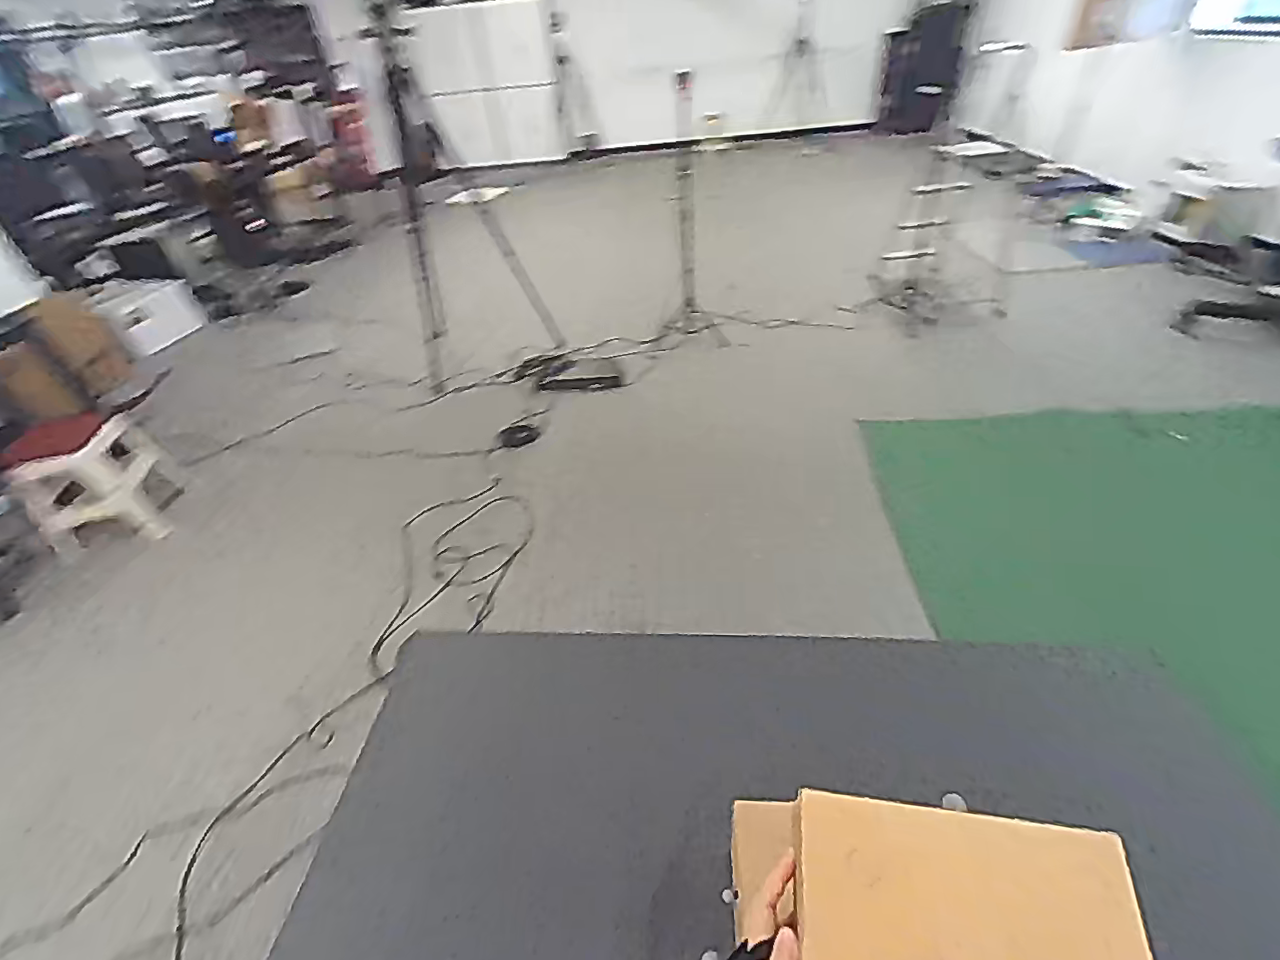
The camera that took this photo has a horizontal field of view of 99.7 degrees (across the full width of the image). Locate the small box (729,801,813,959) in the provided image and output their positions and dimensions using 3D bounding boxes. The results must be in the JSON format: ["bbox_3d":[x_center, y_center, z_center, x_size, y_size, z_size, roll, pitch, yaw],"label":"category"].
[{"bbox_3d":[0.180,0.461,0.557,0.168,0.176,0.179,-1,40,6],"label":"small box"}]

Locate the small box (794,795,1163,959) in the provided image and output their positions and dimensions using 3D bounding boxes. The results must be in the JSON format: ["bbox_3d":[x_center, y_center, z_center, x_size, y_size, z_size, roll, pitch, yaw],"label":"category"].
[{"bbox_3d":[0.181,0.307,0.325,0.168,0.176,0.179,1,58,15],"label":"small box"}]
